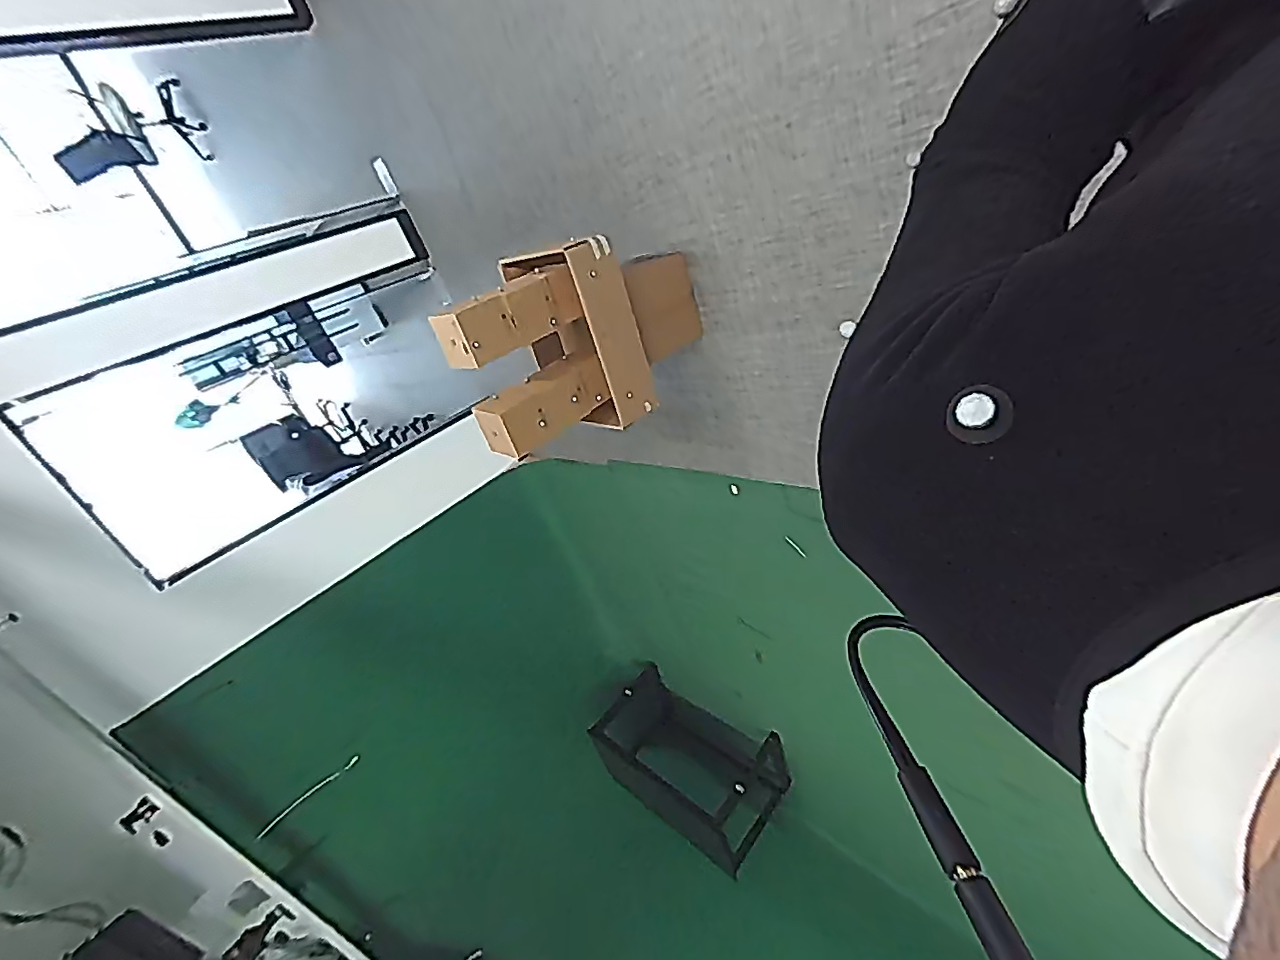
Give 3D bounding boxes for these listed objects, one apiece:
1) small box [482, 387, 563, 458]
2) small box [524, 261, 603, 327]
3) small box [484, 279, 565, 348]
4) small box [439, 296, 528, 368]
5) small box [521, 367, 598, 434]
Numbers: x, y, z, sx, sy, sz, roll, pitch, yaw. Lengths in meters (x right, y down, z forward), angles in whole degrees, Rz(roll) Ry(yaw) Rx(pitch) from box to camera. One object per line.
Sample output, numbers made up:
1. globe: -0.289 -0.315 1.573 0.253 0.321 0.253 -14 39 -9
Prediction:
1. small box: -0.386 -0.197 1.796 0.179 0.176 0.168 16 135 44
2. small box: -0.255 -0.626 1.826 0.179 0.176 0.168 14 132 44
3. small box: -0.360 -0.536 1.735 0.179 0.176 0.168 16 133 43
4. small box: -0.473 -0.452 1.652 0.179 0.176 0.168 13 131 45
5. small box: -0.277 -0.282 1.882 0.179 0.176 0.168 17 135 43
